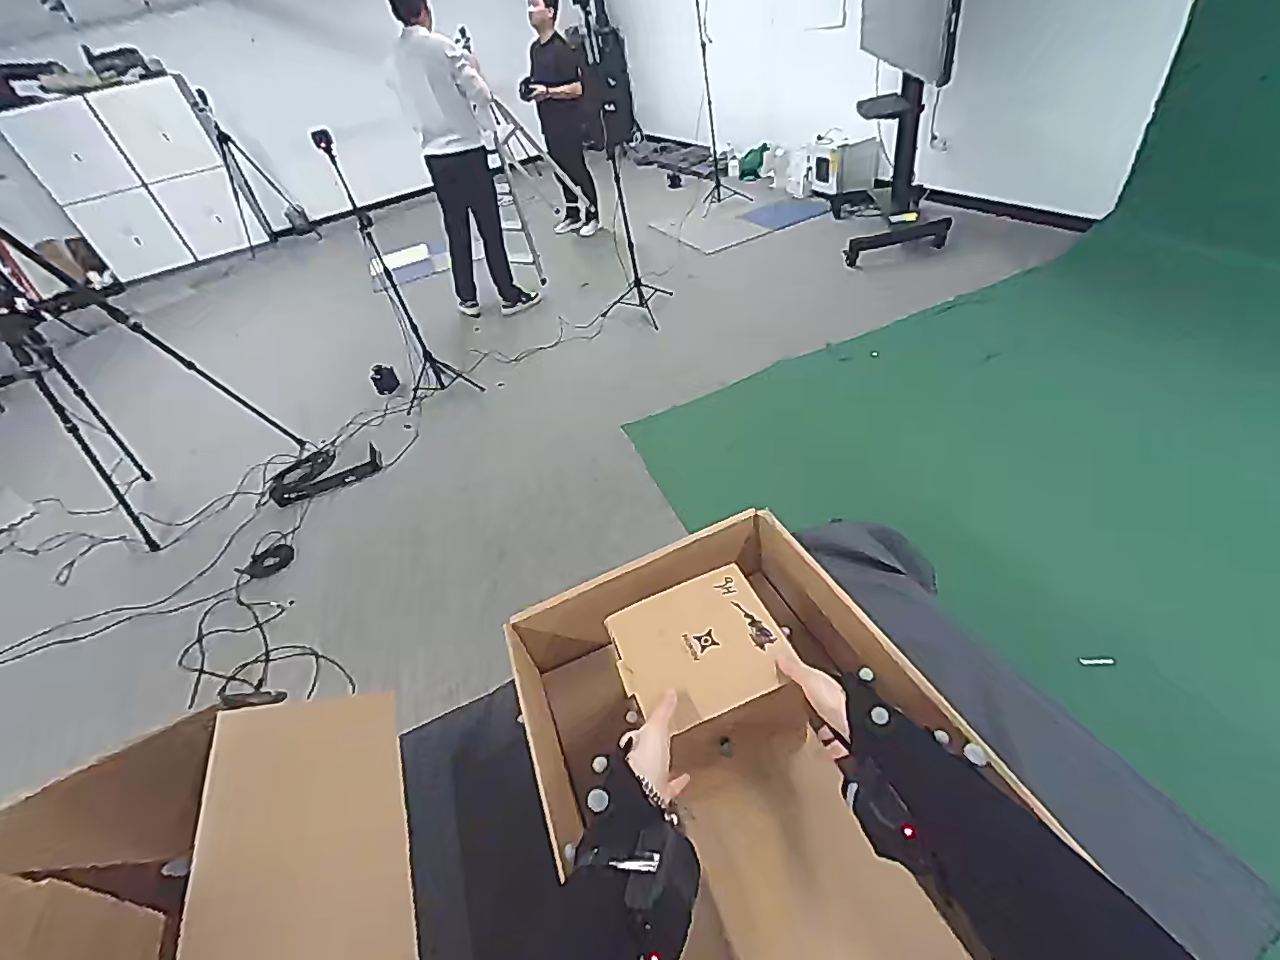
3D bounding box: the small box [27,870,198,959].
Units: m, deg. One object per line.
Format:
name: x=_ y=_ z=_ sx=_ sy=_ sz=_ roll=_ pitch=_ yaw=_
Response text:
small box: x=-0.464 y=0.424 z=0.379 sx=0.168 sy=0.176 sz=0.179 roll=-21 pitch=43 yaw=-9
